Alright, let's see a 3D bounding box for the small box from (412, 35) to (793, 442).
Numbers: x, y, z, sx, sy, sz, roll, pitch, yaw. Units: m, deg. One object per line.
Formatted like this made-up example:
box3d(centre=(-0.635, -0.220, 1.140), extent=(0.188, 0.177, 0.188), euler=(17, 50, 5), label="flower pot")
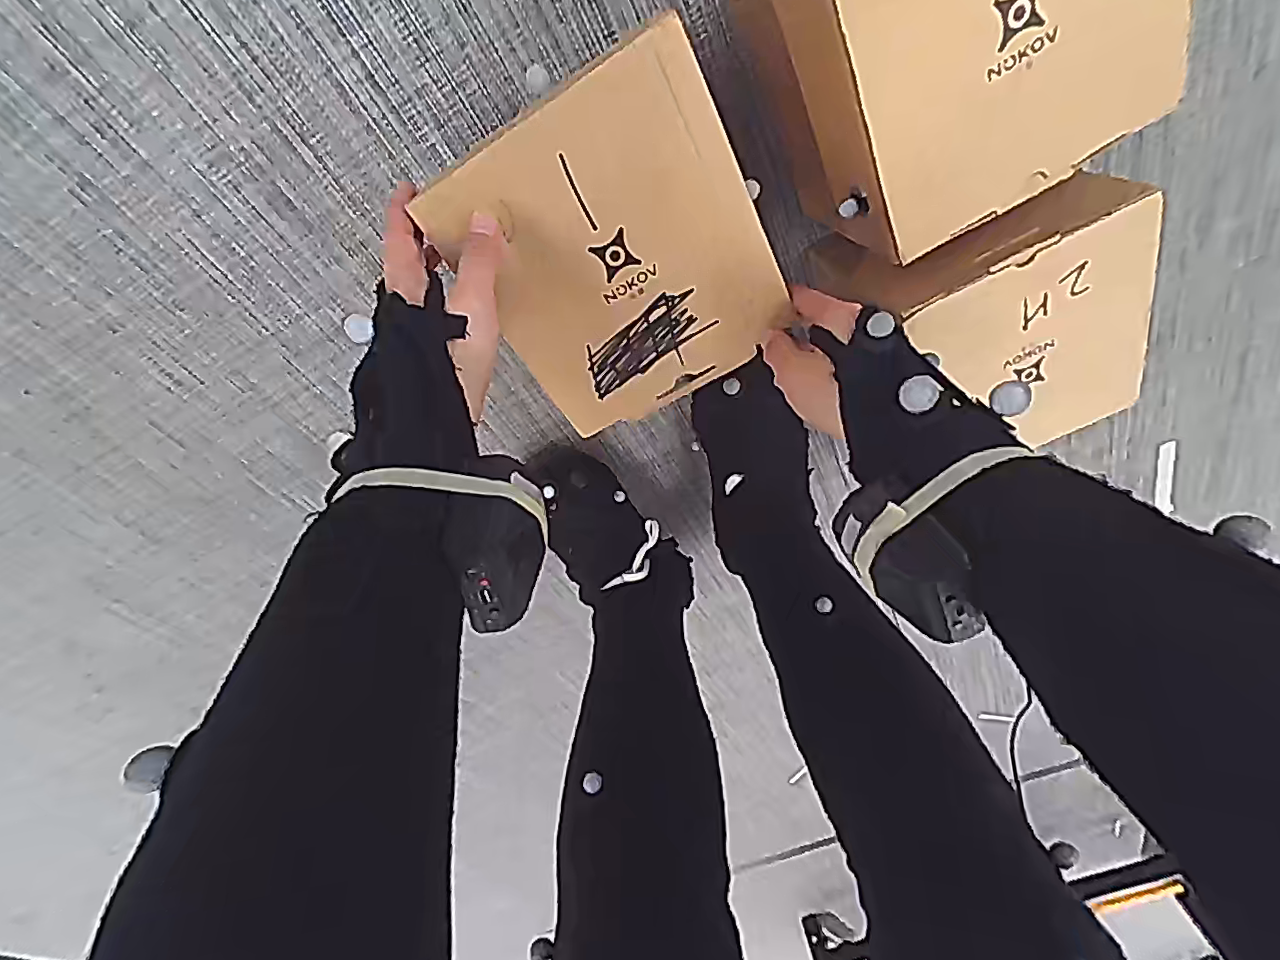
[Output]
box3d(centre=(-0.019, -0.165, 0.379), extent=(0.168, 0.176, 0.179), euler=(-27, 125, 12), label="small box")
